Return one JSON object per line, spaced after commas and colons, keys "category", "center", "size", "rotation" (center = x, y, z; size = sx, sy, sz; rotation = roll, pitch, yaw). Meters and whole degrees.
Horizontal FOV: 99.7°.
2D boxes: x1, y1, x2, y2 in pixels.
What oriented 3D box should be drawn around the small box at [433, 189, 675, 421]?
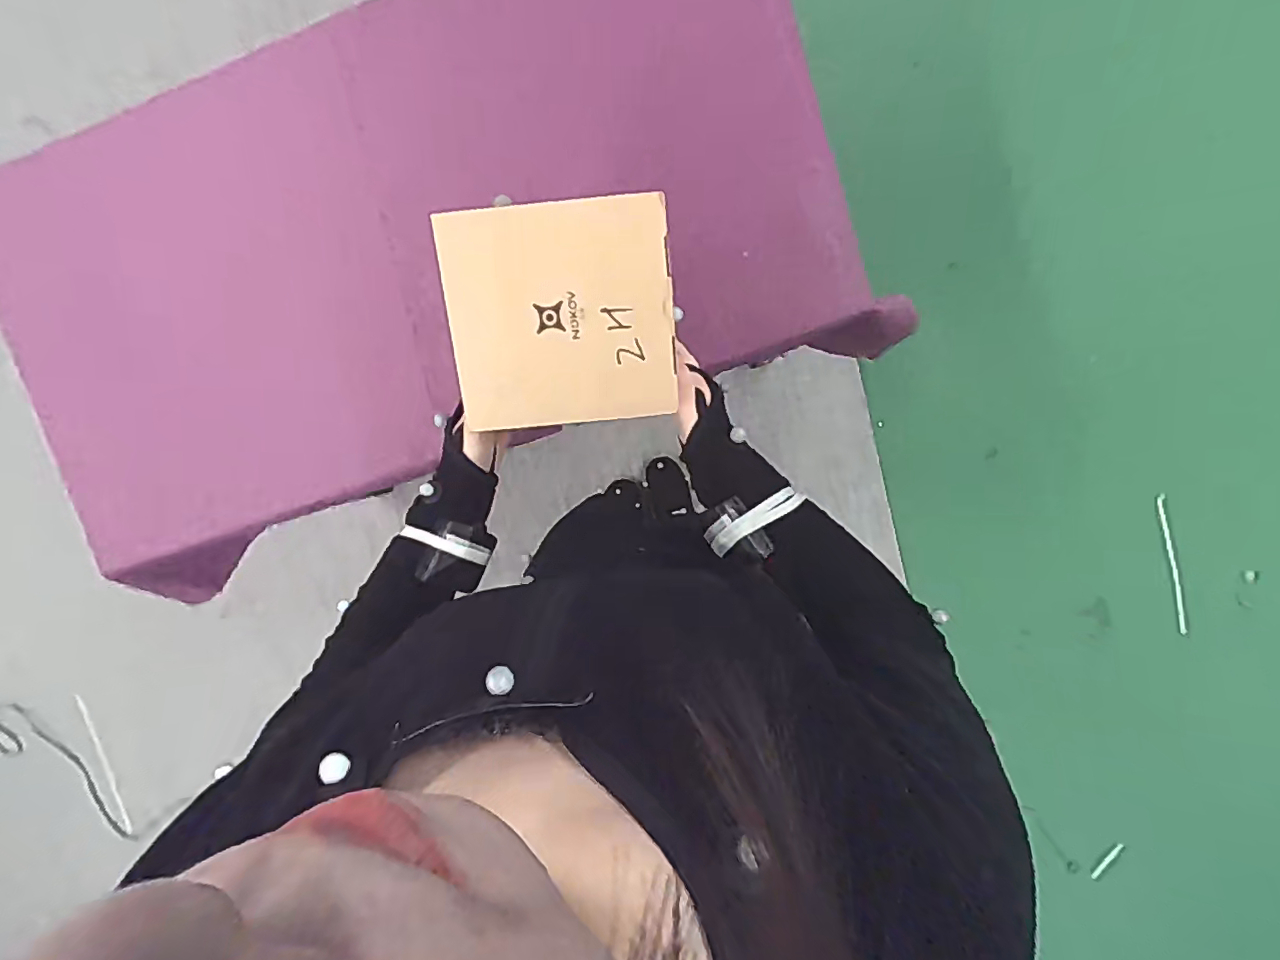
{"category": "small box", "center": [-0.061, -0.149, 0.491], "size": [0.179, 0.176, 0.168], "rotation": [-4, 105, 1]}
